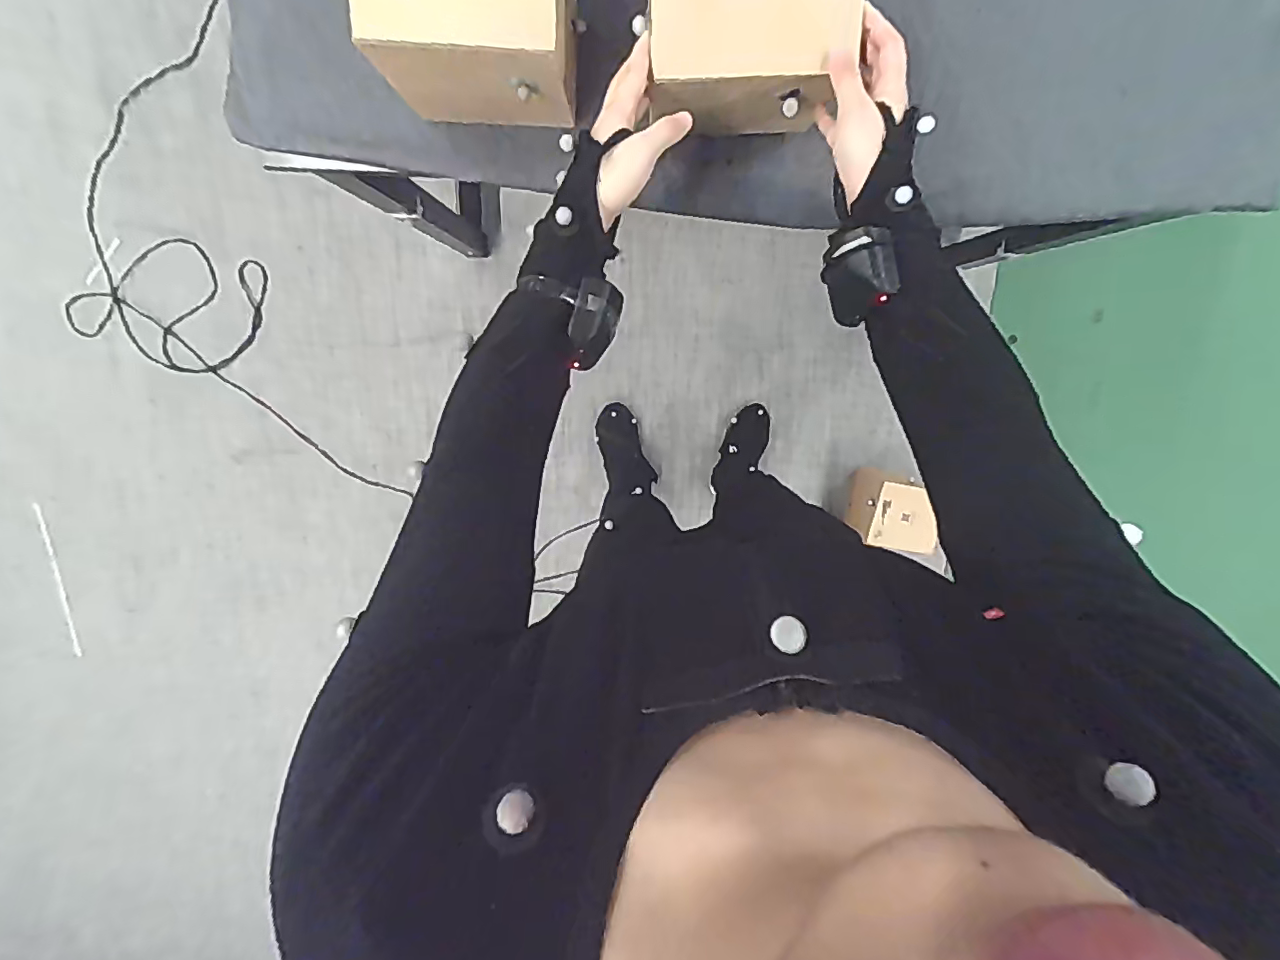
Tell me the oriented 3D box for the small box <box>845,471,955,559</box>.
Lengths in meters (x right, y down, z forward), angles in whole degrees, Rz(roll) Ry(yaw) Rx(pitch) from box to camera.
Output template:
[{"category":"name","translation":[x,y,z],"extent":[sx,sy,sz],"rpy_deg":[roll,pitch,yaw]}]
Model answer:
[{"category":"small box","translation":[0.664,0.084,1.402],"extent":[0.179,0.176,0.168],"rpy_deg":[11,104,-2]}]

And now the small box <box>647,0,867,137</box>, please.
[{"category":"small box","translation":[0.096,-0.435,0.501],"extent":[0.179,0.176,0.168],"rpy_deg":[0,108,2]}]
